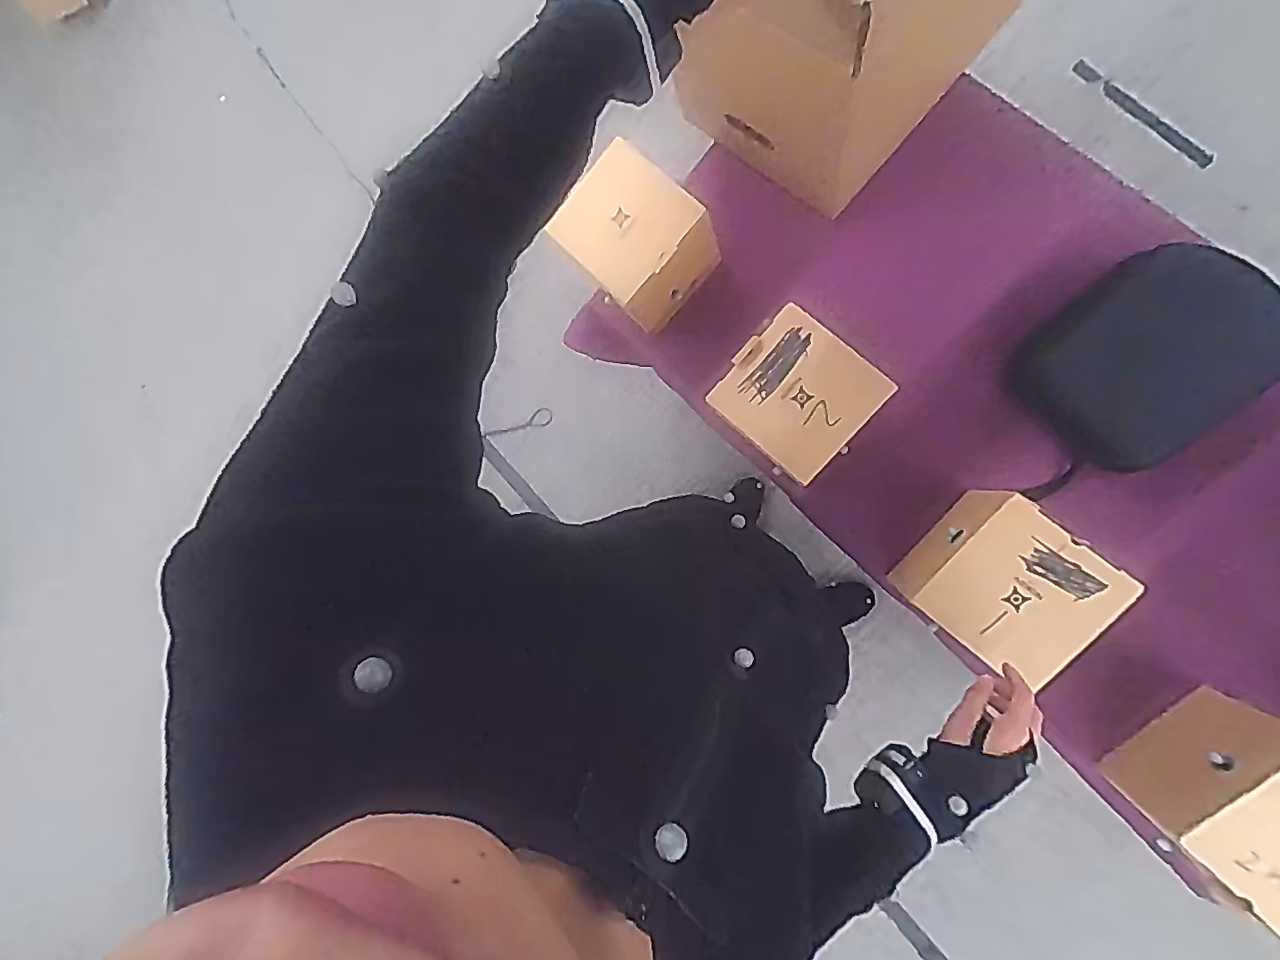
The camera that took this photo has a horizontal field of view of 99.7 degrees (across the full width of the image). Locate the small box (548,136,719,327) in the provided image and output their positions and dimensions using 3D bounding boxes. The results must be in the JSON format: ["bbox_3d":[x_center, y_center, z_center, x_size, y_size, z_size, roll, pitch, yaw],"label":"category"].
[{"bbox_3d":[-0.001,-0.361,0.824,0.179,0.176,0.168,45,101,9],"label":"small box"}]

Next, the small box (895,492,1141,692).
[{"bbox_3d":[0.461,0.128,0.700,0.168,0.176,0.179,42,101,12],"label":"small box"}]

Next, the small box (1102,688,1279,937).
[{"bbox_3d":[0.711,0.378,0.631,0.179,0.176,0.168,-46,78,10],"label":"small box"}]
